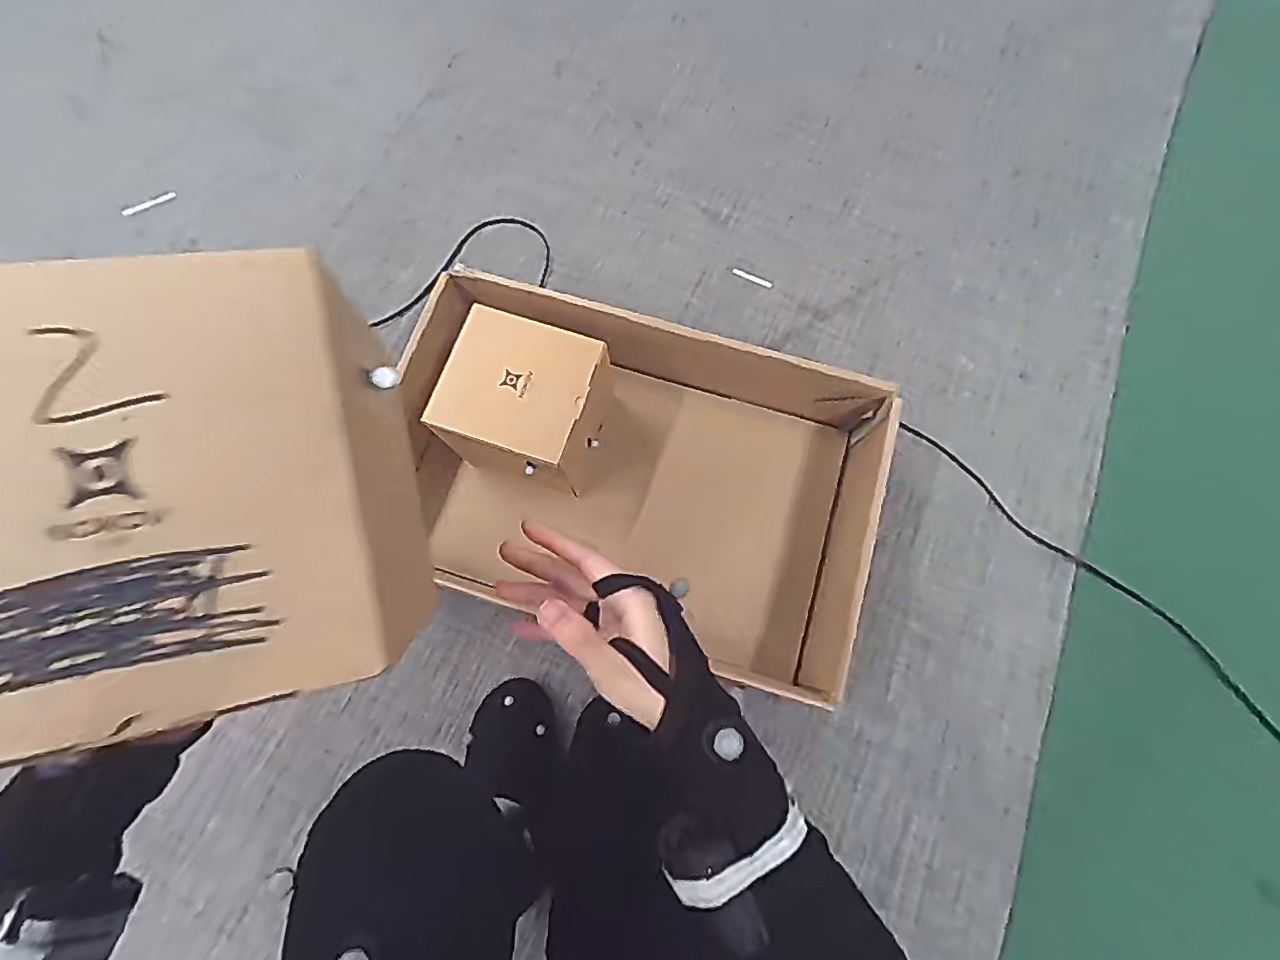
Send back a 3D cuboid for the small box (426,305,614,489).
[{"bbox_3d":[-0.144,-0.099,0.720,0.179,0.176,0.168,17,77,5],"label":"small box"}]
